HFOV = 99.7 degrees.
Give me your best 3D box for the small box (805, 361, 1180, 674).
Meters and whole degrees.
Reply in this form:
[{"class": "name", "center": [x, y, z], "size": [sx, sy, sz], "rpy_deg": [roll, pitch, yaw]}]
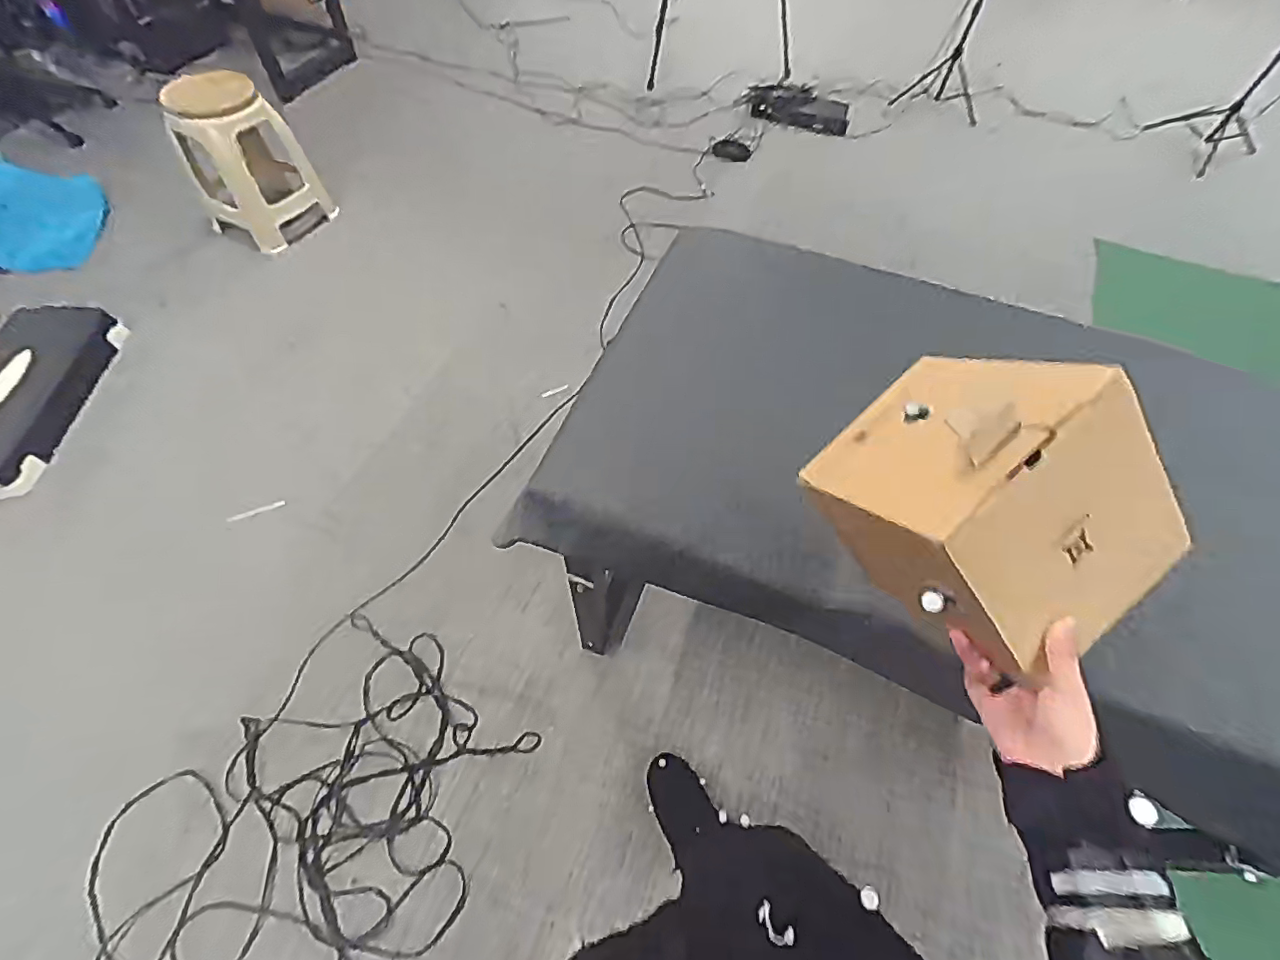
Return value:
[{"class": "small box", "center": [0.278, 0.015, 0.452], "size": [0.168, 0.176, 0.179], "rpy_deg": [-43, 111, -4]}]
